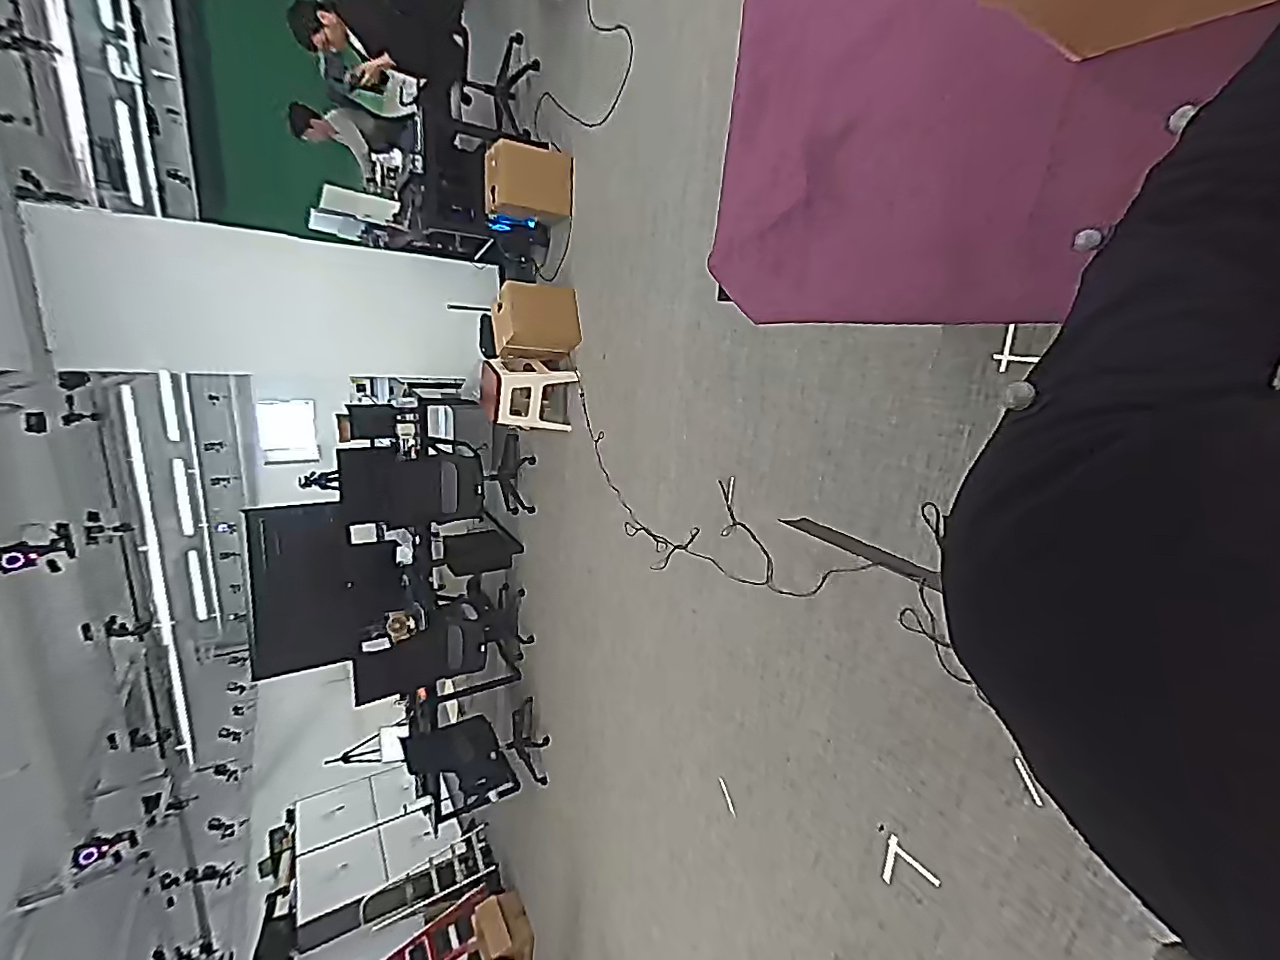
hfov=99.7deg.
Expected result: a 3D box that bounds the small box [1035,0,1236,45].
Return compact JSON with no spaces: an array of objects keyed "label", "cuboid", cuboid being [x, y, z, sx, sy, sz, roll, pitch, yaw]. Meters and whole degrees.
[{"label":"small box","cuboid":[0.422,-0.480,0.413,0.179,0.176,0.168,25,116,53]}]
